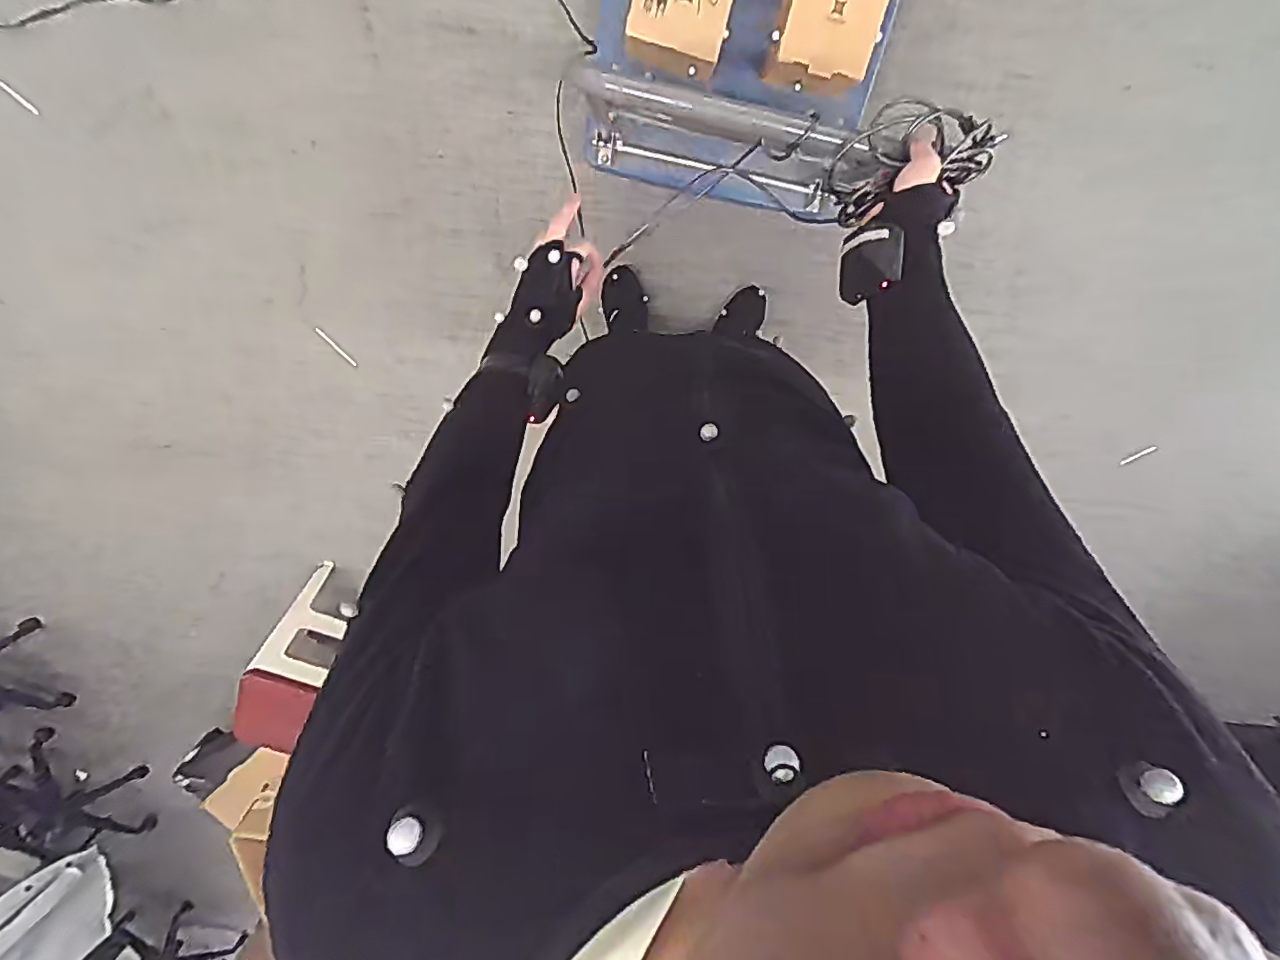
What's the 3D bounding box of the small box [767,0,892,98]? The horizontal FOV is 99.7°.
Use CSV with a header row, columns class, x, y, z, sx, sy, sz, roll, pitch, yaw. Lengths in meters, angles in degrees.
class,x,y,z,sx,sy,sz,roll,pitch,yaw
small box,0.351,-0.854,1.016,0.168,0.176,0.179,12,116,-3
